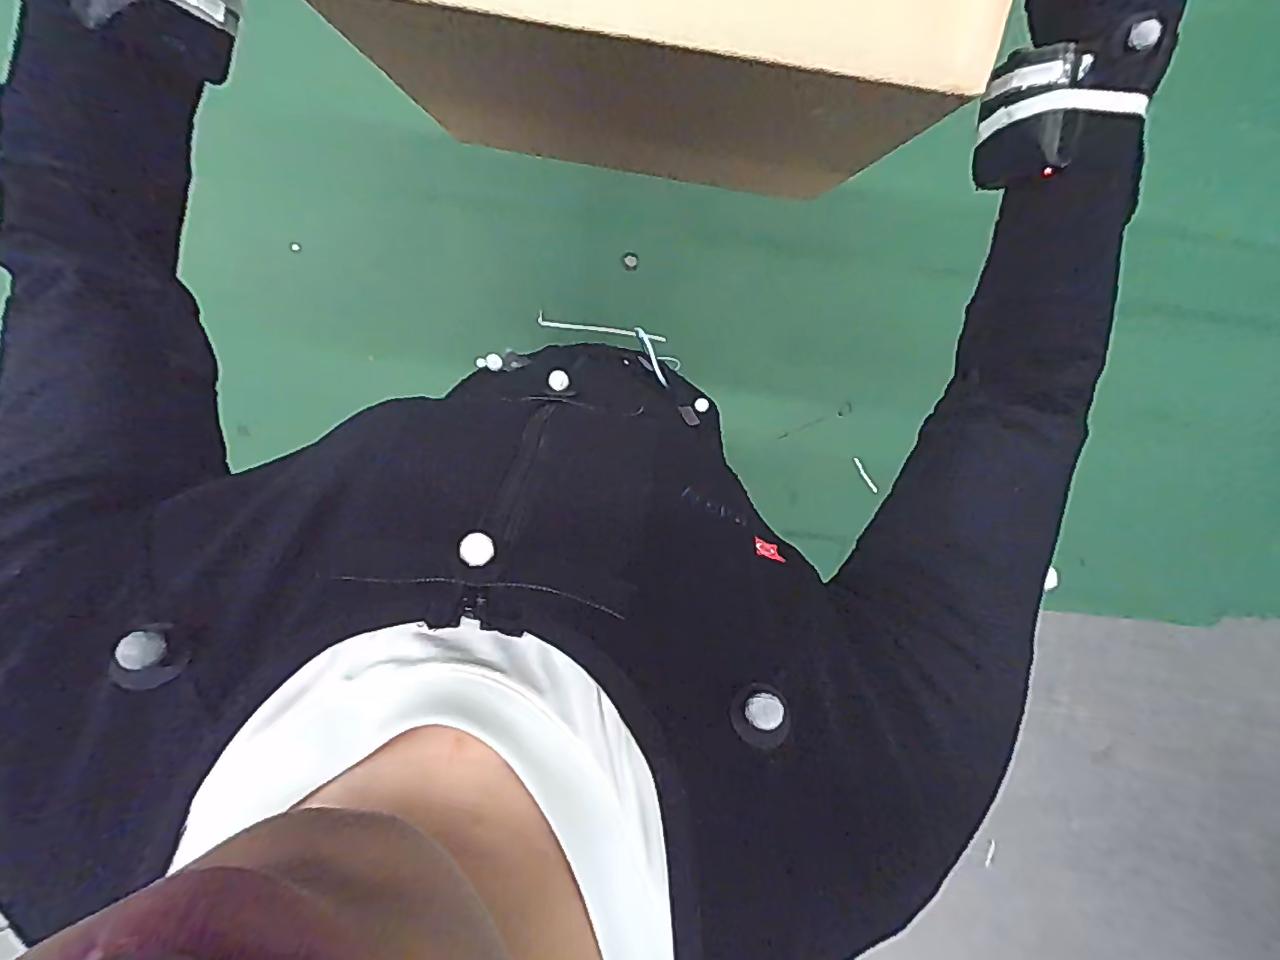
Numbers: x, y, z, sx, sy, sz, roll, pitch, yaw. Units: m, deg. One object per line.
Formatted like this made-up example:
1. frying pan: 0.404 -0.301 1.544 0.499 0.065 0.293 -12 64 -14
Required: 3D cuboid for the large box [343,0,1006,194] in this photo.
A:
1. large box: 0.024 -0.445 0.411 0.408 0.320 0.320 8 107 -4
